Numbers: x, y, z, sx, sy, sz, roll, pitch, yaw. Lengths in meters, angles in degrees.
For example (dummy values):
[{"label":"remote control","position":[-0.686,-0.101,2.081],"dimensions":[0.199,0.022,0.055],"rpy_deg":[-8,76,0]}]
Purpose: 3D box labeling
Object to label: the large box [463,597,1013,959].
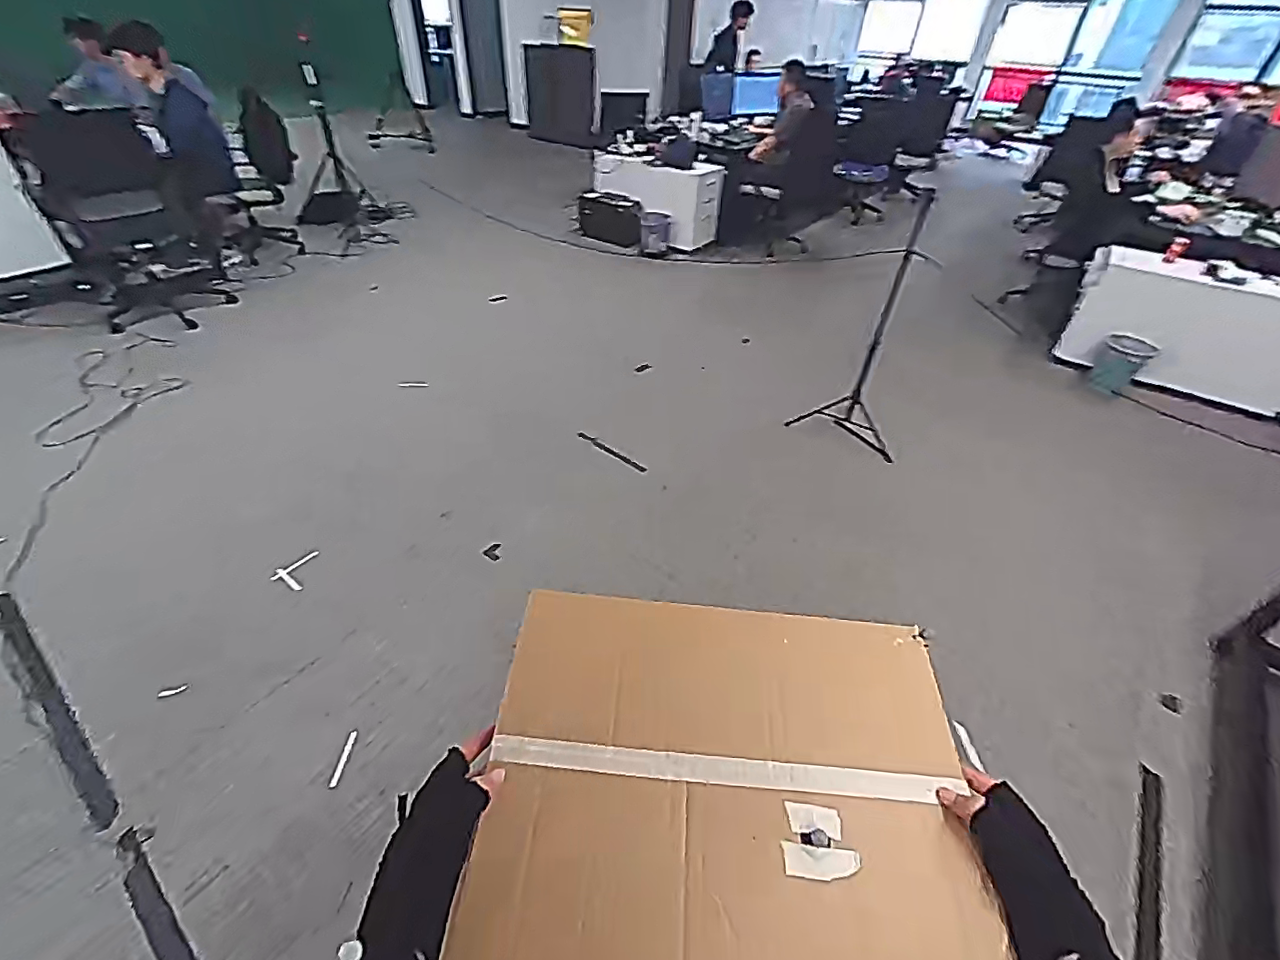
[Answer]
[{"label":"large box","position":[0.072,0.353,0.580],"dimensions":[0.408,0.320,0.320],"rpy_deg":[6,47,1]}]
